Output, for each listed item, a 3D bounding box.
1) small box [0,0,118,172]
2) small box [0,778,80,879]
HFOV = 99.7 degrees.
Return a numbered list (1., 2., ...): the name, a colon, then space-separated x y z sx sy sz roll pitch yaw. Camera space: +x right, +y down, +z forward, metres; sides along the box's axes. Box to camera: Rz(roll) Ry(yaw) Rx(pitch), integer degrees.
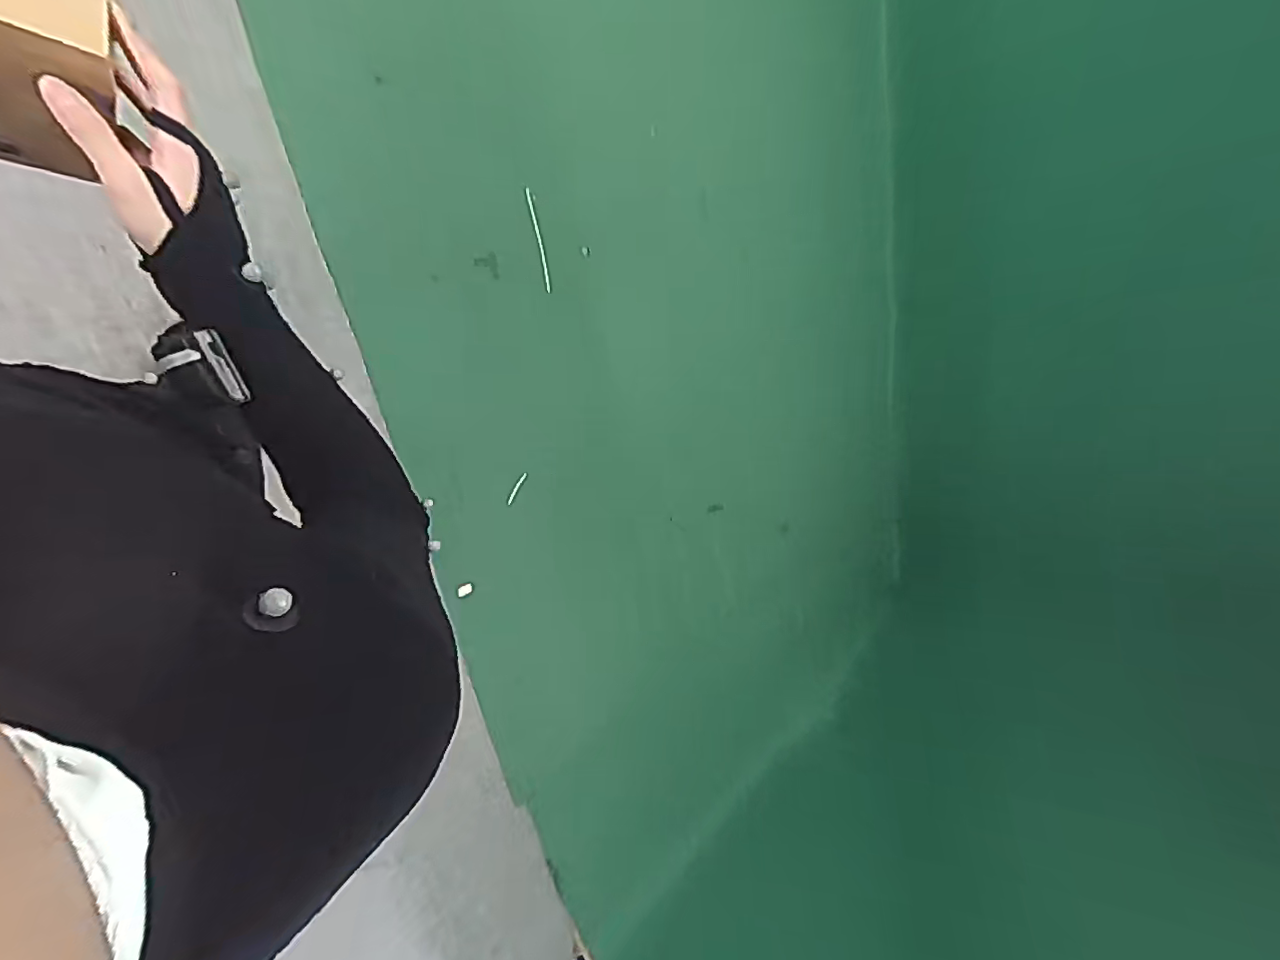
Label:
1. small box: -0.458 -0.347 0.350 0.168 0.176 0.179 -2 87 -42
2. small box: -1.267 0.734 1.077 0.168 0.176 0.179 -22 112 -38
